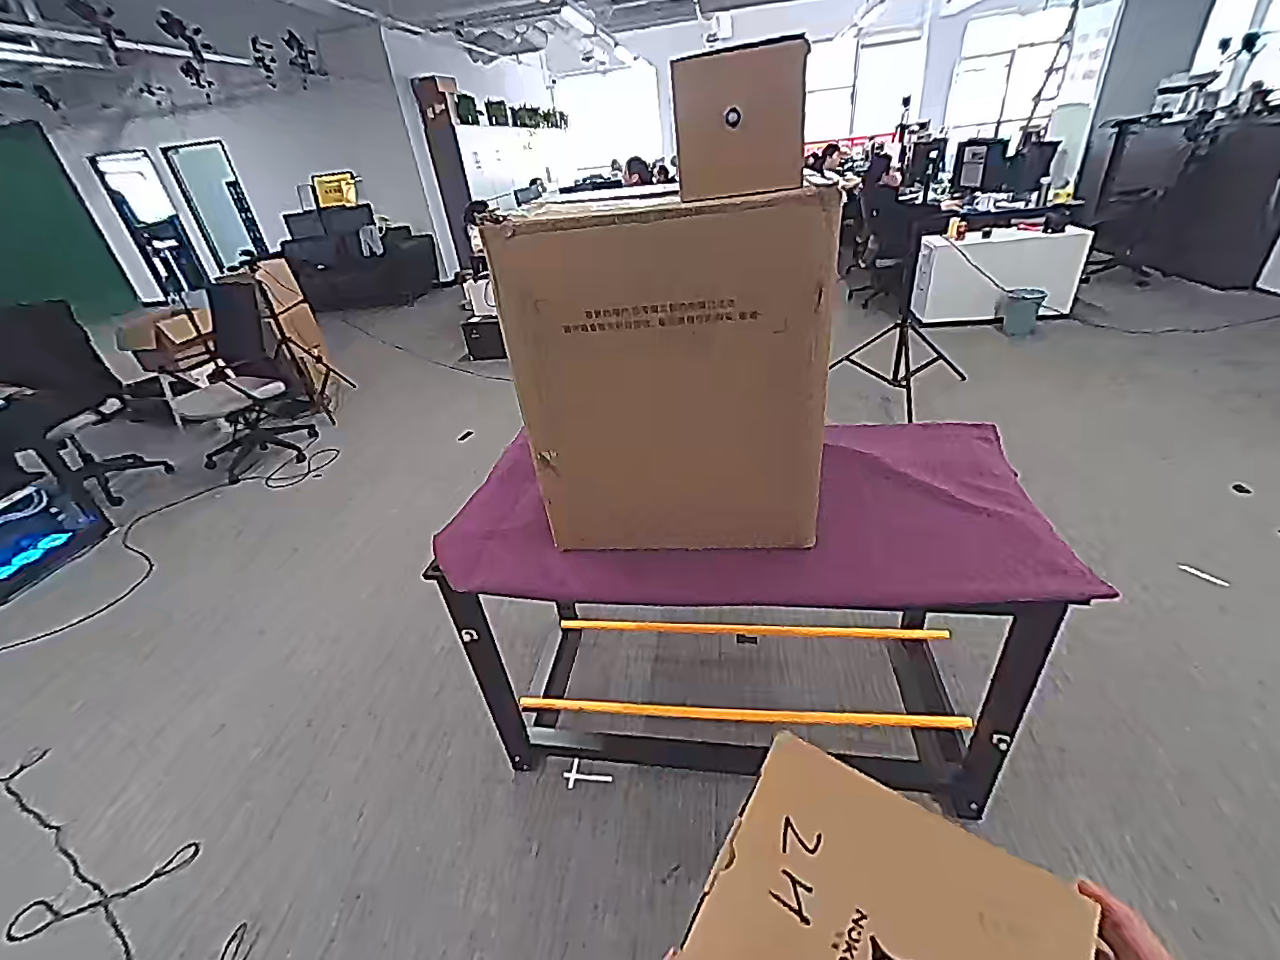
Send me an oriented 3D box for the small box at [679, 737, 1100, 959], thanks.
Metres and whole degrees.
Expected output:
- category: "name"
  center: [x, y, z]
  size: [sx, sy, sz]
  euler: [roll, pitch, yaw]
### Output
- category: "small box"
  center: [0.140, 0.301, 0.339]
  size: [0.179, 0.176, 0.168]
  euler: [18, 57, 31]
